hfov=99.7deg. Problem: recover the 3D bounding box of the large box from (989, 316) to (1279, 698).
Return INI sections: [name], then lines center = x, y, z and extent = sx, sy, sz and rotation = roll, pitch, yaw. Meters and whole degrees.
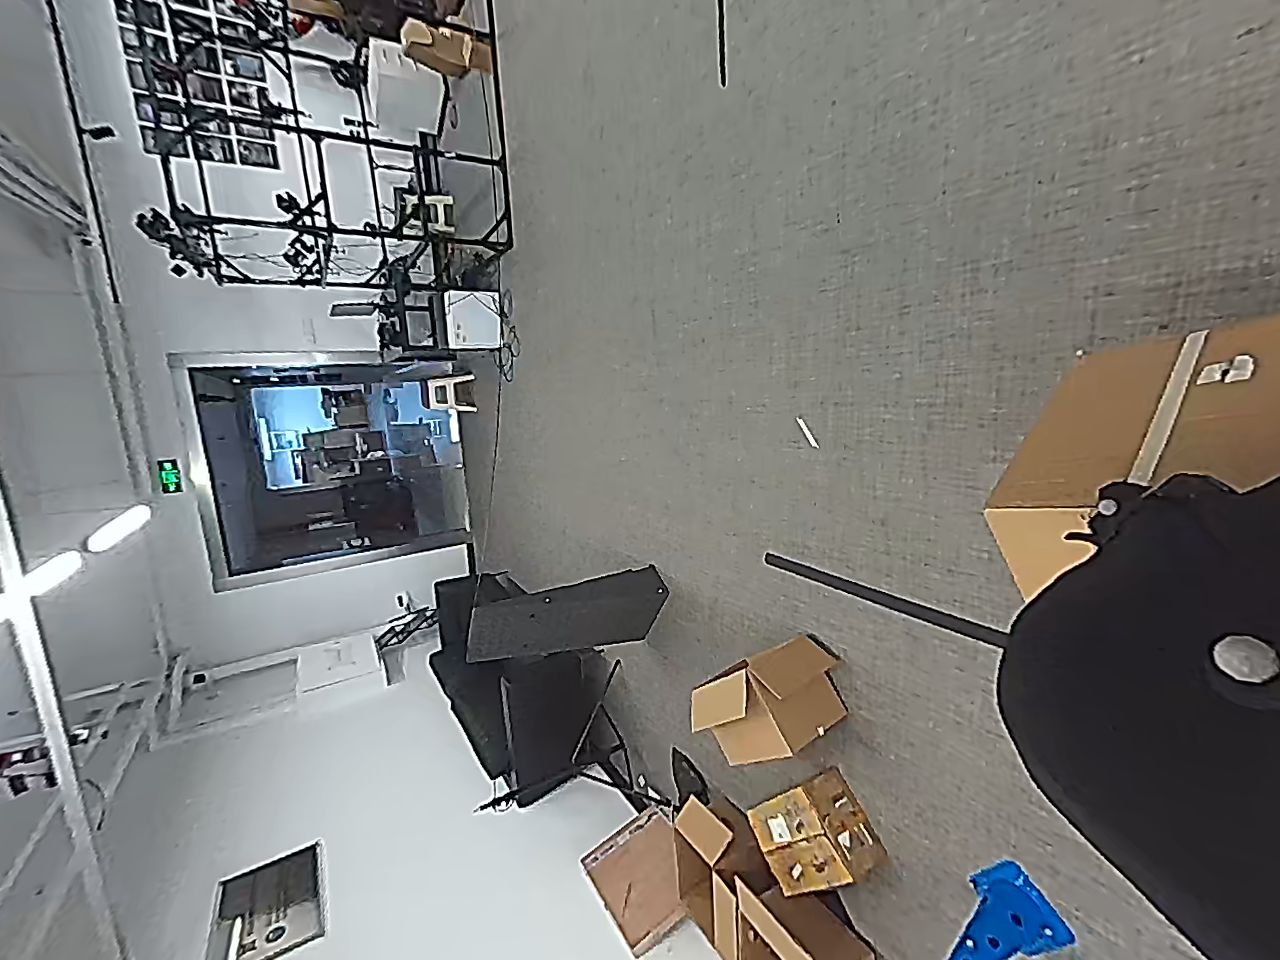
[large box]
center = 0.768, 0.026, 0.742
extent = 0.320, 0.408, 0.320
rotation = 57, 154, -16
